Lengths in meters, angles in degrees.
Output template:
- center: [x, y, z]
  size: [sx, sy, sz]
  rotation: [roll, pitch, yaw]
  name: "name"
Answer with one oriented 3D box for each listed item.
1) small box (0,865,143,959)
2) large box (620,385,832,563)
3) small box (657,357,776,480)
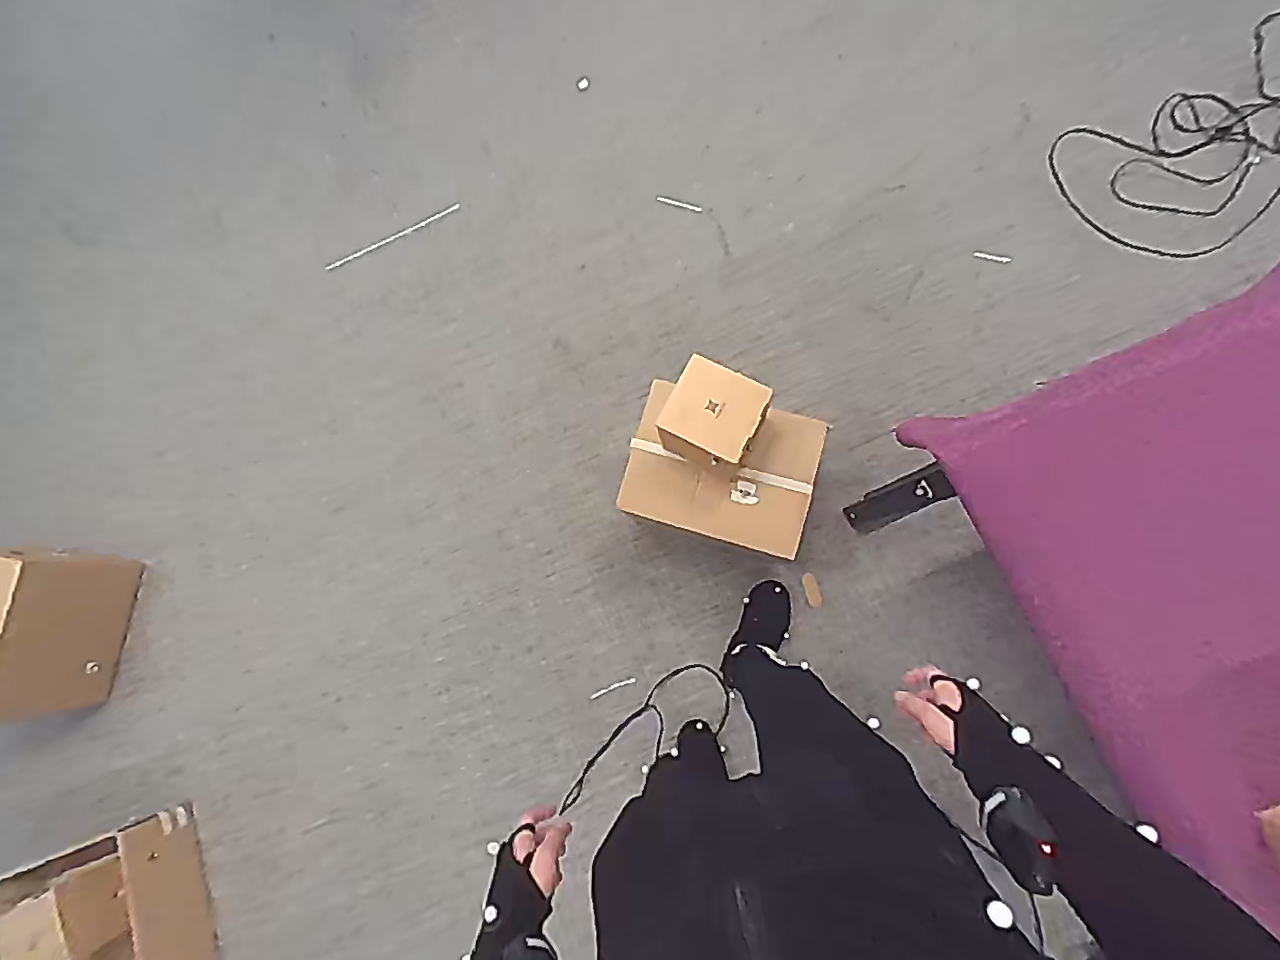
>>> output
- center: [-1.404, 1.103, 1.344]
  size: [0.168, 0.176, 0.179]
  rotation: [-27, 78, 1]
  name: "small box"
- center: [0.198, 0.000, 1.319]
  size: [0.408, 0.320, 0.320]
  rotation: [16, 84, 9]
  name: "large box"
- center: [0.152, -0.114, 1.095]
  size: [0.179, 0.176, 0.168]
  rotation: [27, 83, 10]
  name: "small box"
